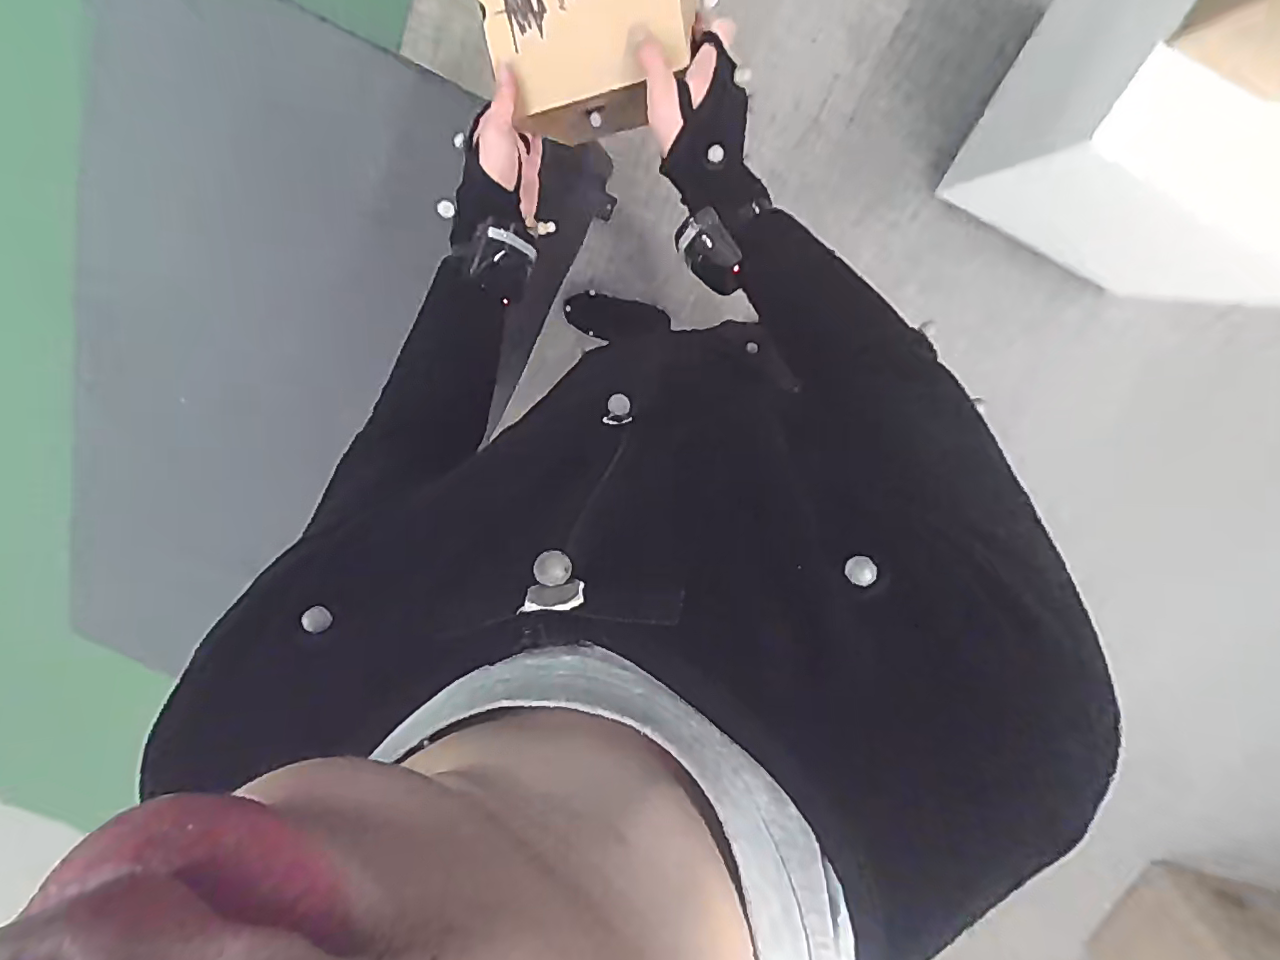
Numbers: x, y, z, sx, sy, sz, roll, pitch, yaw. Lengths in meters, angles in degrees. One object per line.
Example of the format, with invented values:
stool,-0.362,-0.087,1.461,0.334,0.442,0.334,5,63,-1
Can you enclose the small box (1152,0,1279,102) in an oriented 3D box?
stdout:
small box,0.755,-0.558,0.599,0.179,0.176,0.168,24,109,-4

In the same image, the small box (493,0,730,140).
small box,-0.019,-0.427,0.486,0.179,0.176,0.168,-5,112,15
